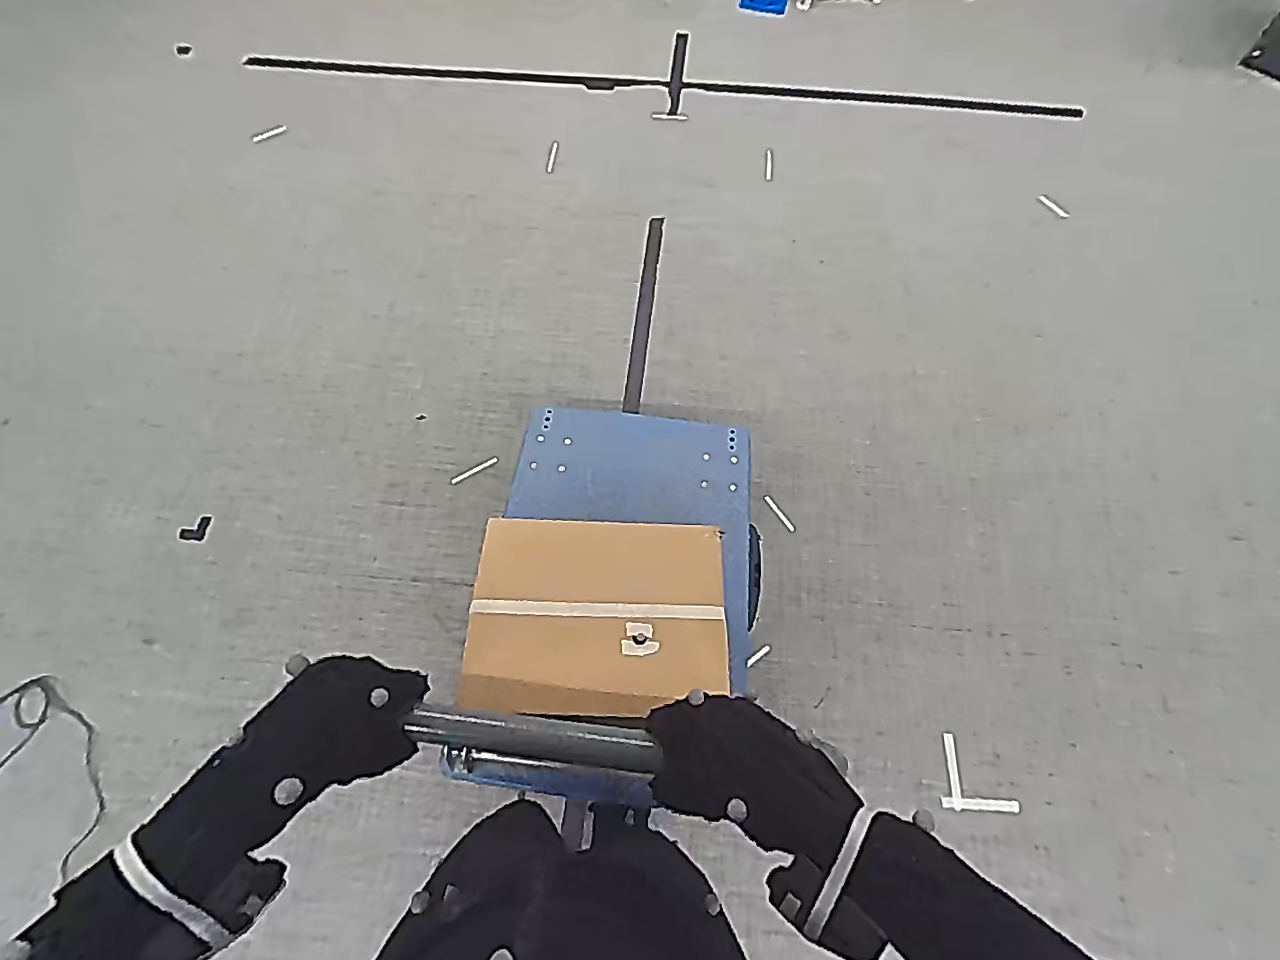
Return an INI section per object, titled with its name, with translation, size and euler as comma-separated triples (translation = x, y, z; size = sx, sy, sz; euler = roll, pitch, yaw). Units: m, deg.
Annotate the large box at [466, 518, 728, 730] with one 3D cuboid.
[large box]
translation = -0.070, 0.281, 1.011
size = 0.408, 0.320, 0.320
euler = 3, 60, -2
